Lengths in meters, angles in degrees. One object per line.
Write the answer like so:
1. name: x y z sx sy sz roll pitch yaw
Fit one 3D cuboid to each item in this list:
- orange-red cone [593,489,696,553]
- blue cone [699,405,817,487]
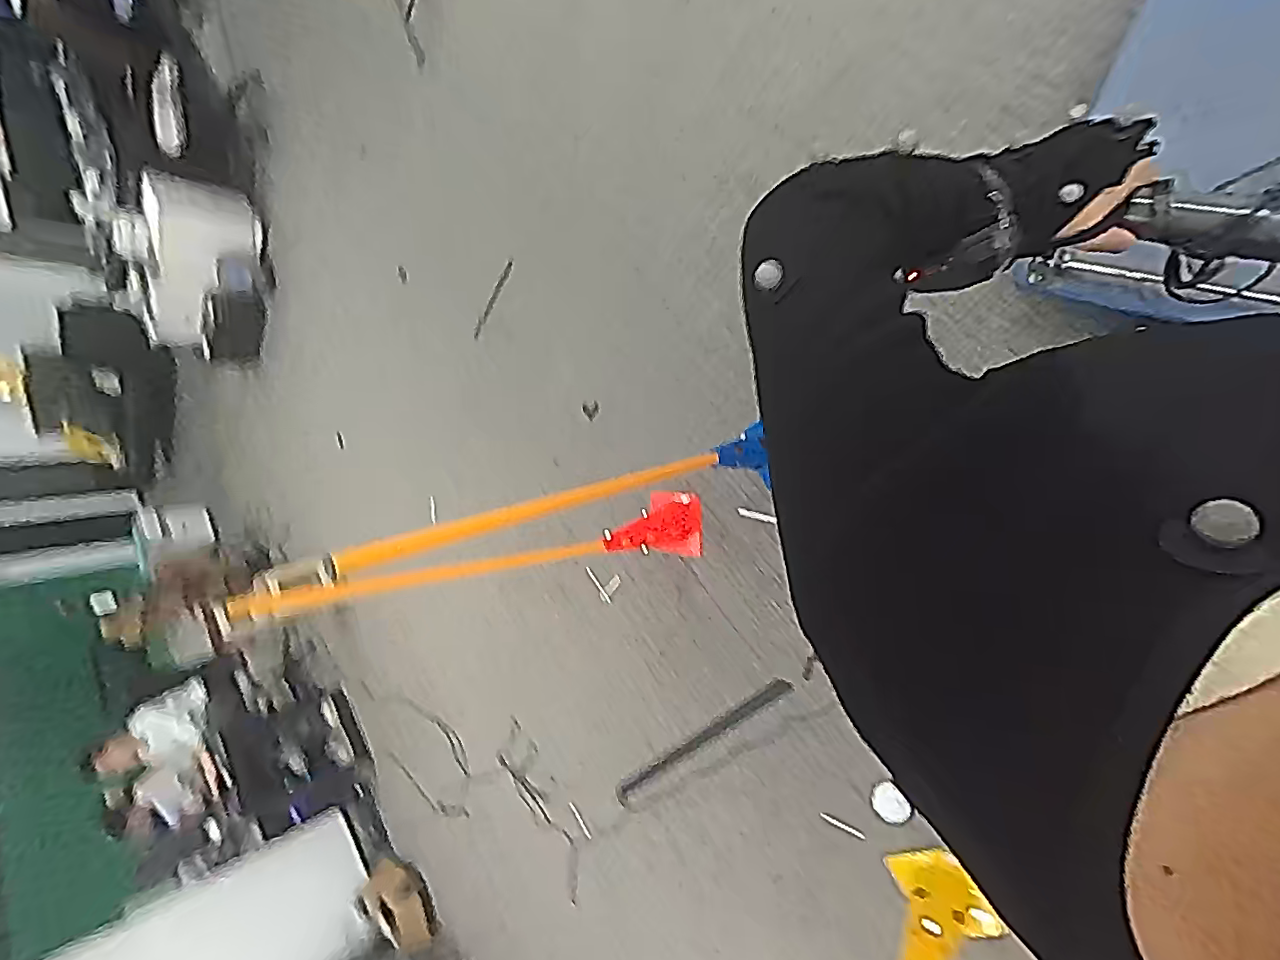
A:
1. orange-red cone: -0.005 0.154 1.633 0.199 0.360 0.198 5 101 38
2. blue cone: 0.277 -0.074 1.376 0.192 0.380 0.193 -34 75 39
